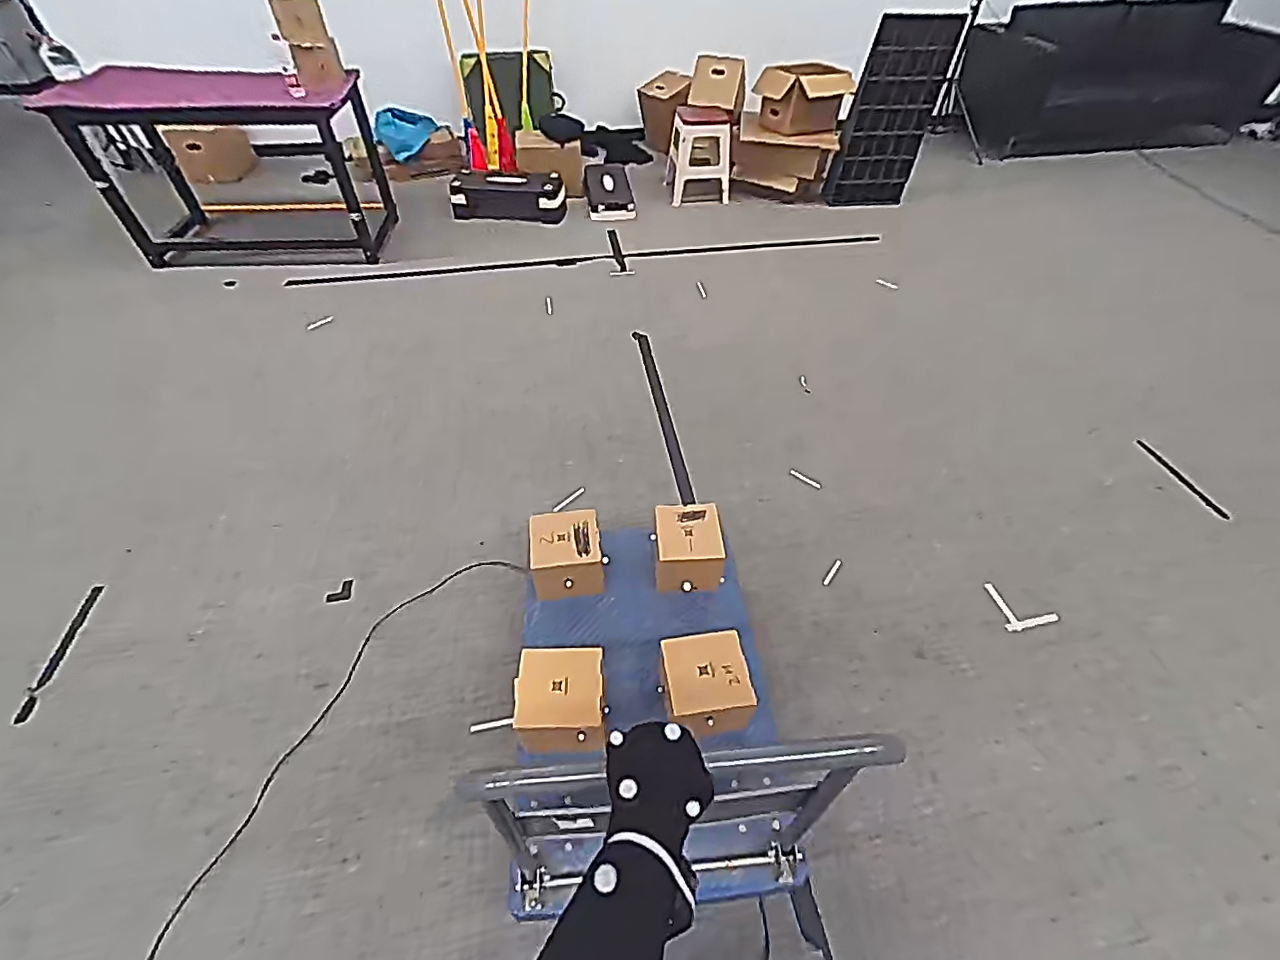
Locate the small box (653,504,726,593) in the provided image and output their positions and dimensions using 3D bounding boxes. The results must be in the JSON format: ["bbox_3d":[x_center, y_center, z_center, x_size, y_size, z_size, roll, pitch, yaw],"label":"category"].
[{"bbox_3d":[0.125,0.184,1.447,0.168,0.176,0.179,-2,49,-3],"label":"small box"}]

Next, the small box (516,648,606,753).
[{"bbox_3d":[-0.163,0.482,1.175,0.179,0.176,0.168,0,48,-4],"label":"small box"}]

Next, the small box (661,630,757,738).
[{"bbox_3d":[0.144,0.457,1.202,0.179,0.176,0.168,-6,49,-6],"label":"small box"}]
